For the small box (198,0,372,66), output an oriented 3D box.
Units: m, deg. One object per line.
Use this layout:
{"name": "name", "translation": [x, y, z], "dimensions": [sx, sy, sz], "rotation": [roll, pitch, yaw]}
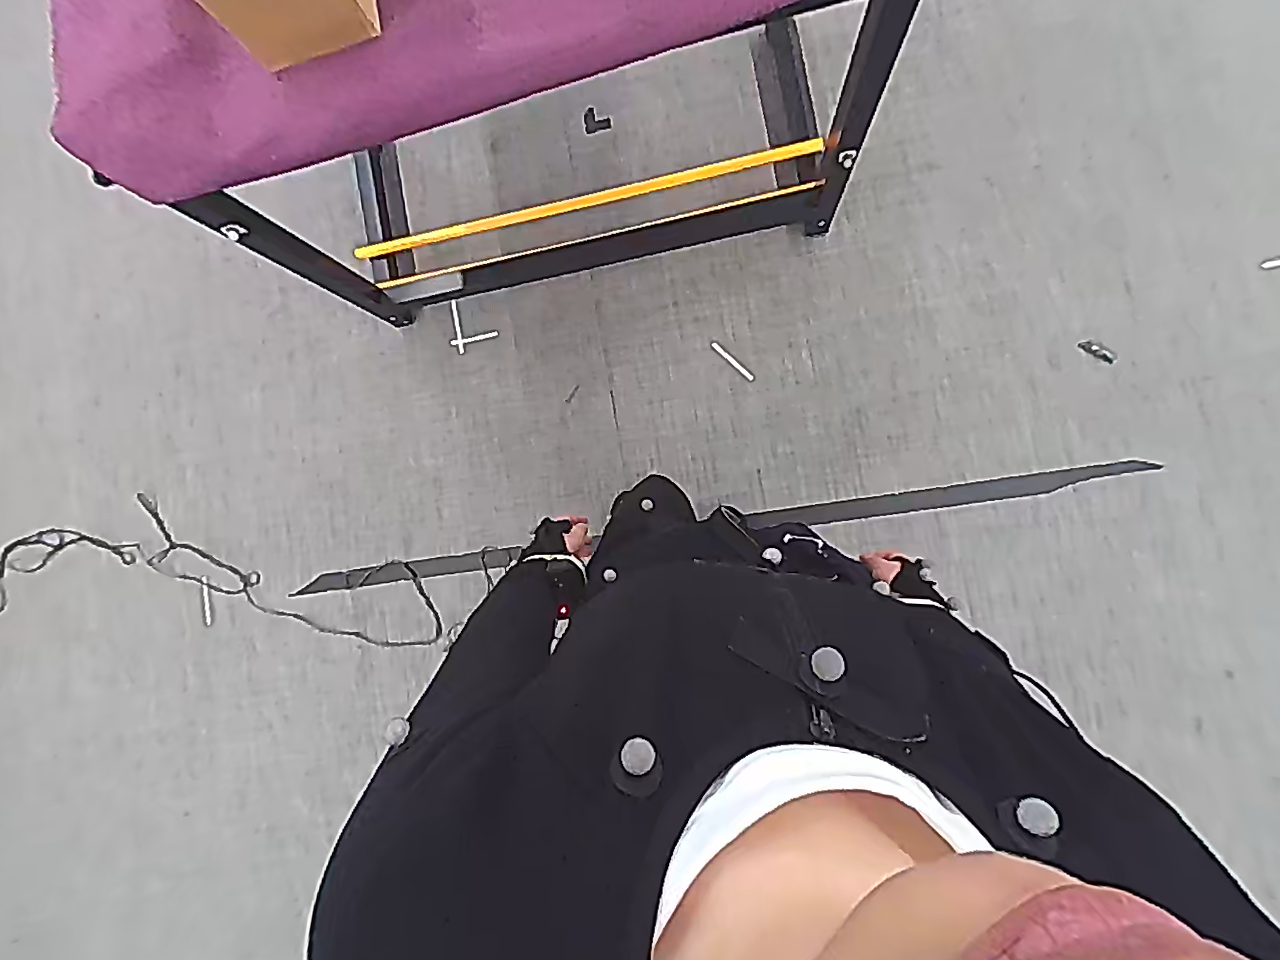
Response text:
{"name": "small box", "translation": [-0.456, -0.667, 0.664], "dimensions": [0.179, 0.176, 0.168], "rotation": [-12, 86, 7]}
